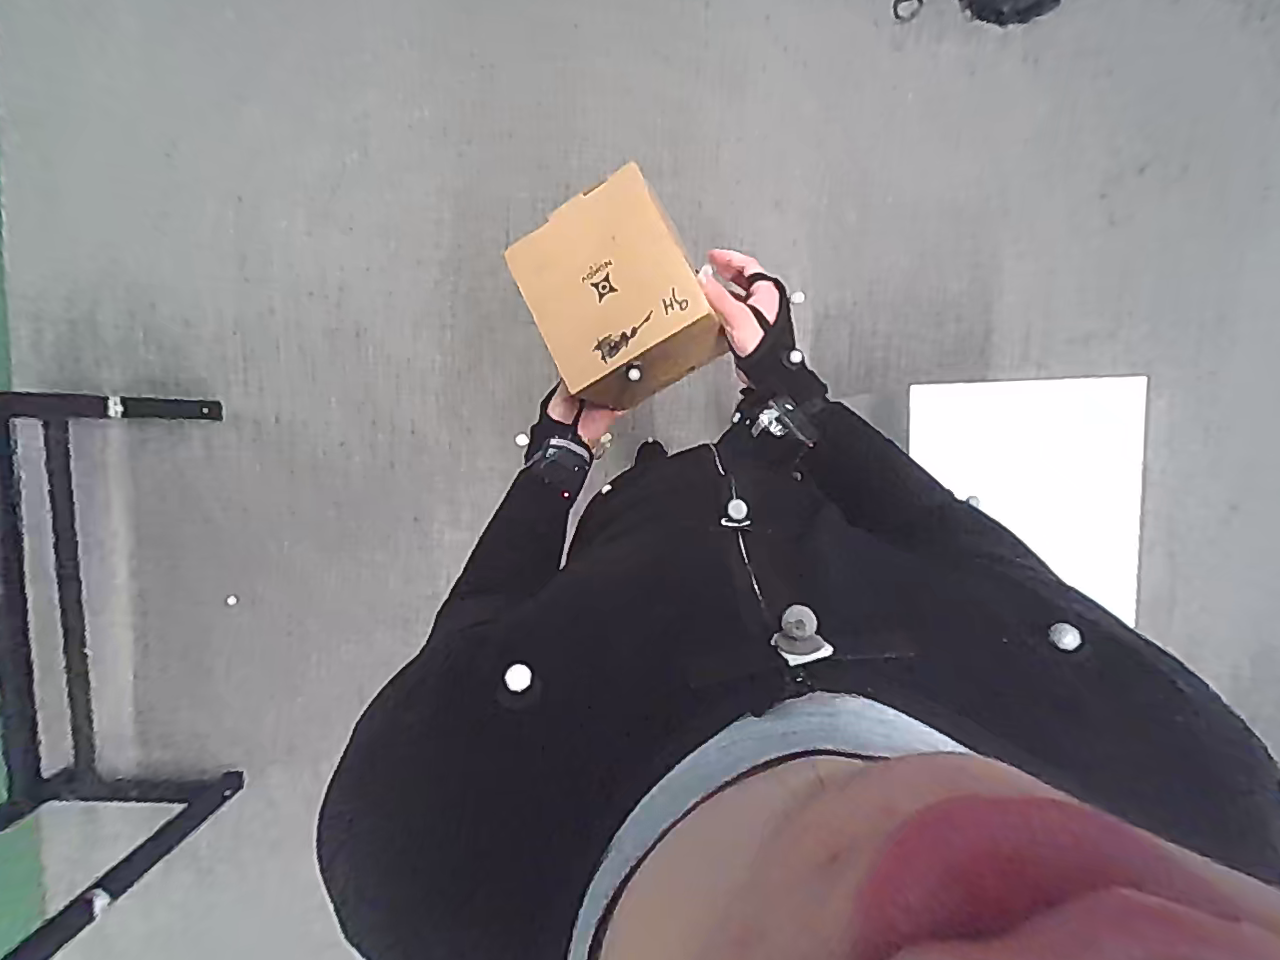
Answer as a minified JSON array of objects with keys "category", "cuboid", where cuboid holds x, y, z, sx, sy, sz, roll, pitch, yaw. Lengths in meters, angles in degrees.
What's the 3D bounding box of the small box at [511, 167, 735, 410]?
[{"category":"small box","cuboid":[-0.009,-0.197,0.616,0.168,0.176,0.179,-29,82,17]}]
